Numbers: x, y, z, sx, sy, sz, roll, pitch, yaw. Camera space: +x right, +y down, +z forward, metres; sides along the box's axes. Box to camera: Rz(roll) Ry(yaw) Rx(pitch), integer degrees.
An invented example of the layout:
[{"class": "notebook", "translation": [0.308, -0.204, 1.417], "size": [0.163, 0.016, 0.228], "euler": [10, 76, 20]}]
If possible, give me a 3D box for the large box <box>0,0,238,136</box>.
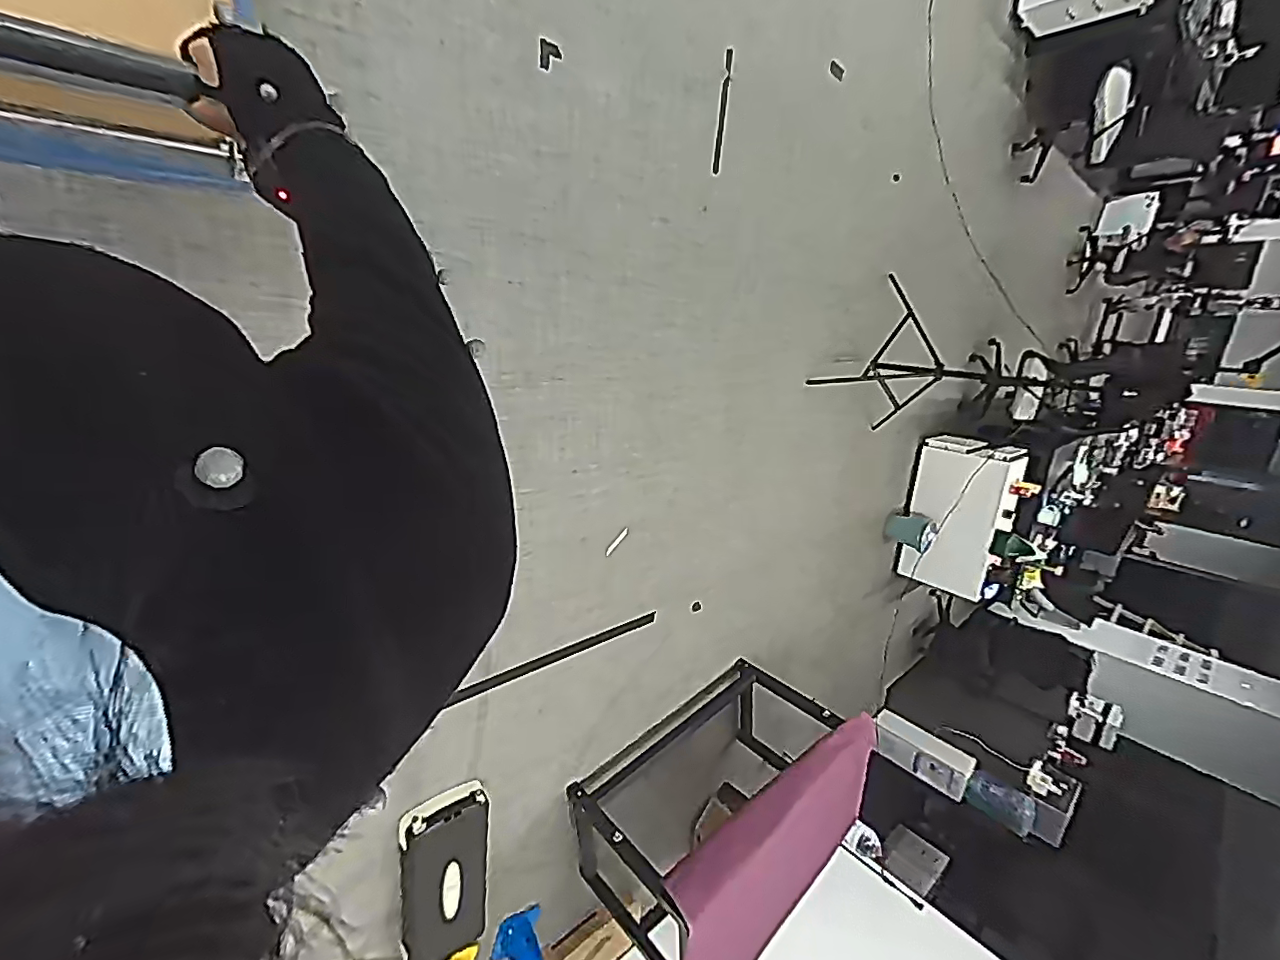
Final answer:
[{"class": "large box", "translation": [-0.816, -0.692, 0.701], "size": [0.408, 0.320, 0.320], "euler": [-13, 114, -41]}]
